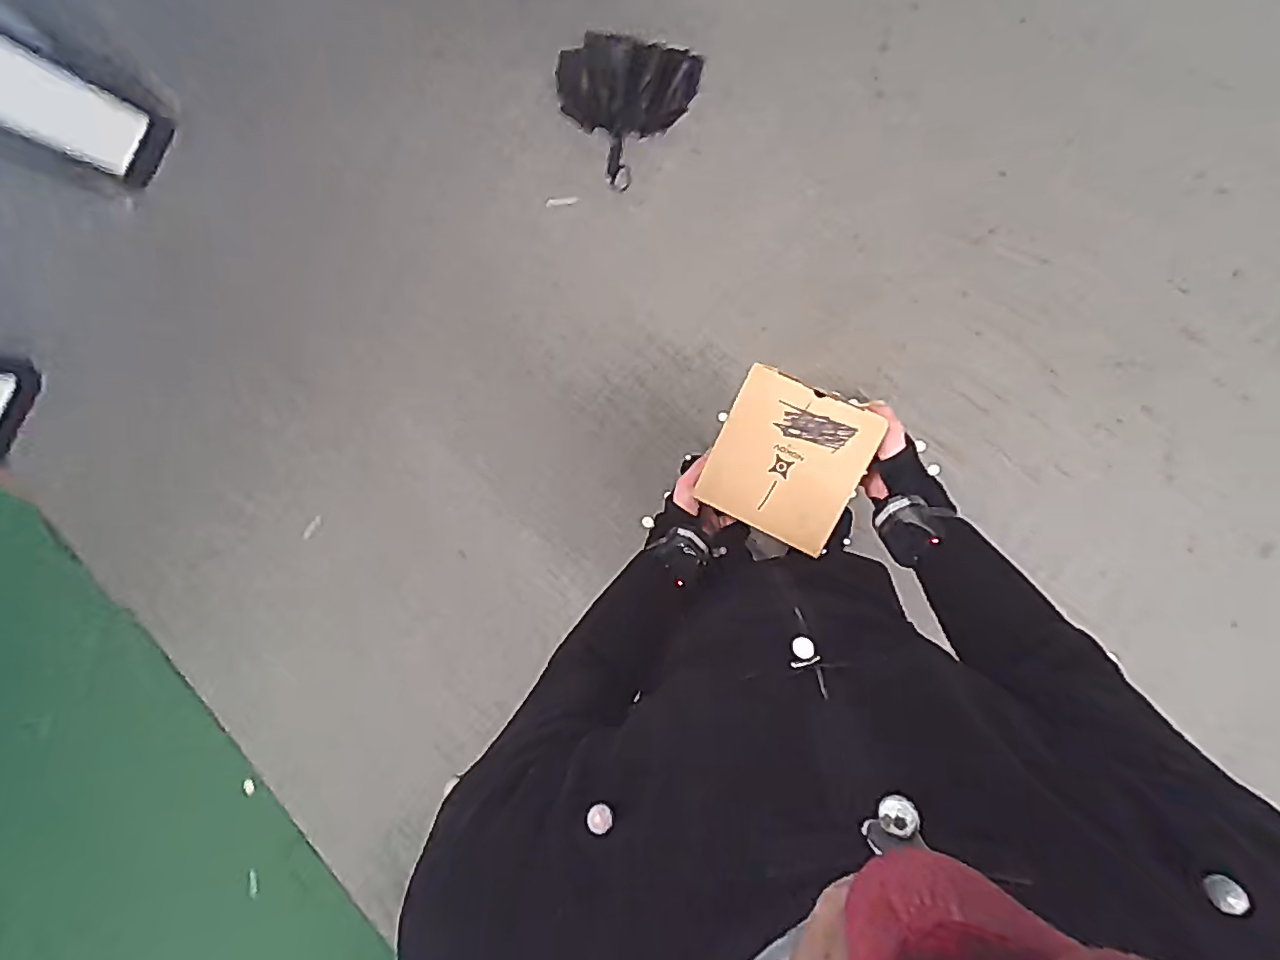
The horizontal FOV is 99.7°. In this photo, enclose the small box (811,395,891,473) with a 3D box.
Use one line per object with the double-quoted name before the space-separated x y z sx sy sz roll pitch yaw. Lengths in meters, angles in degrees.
"small box" 0.533 -0.113 1.384 0.168 0.176 0.179 -7 91 17
